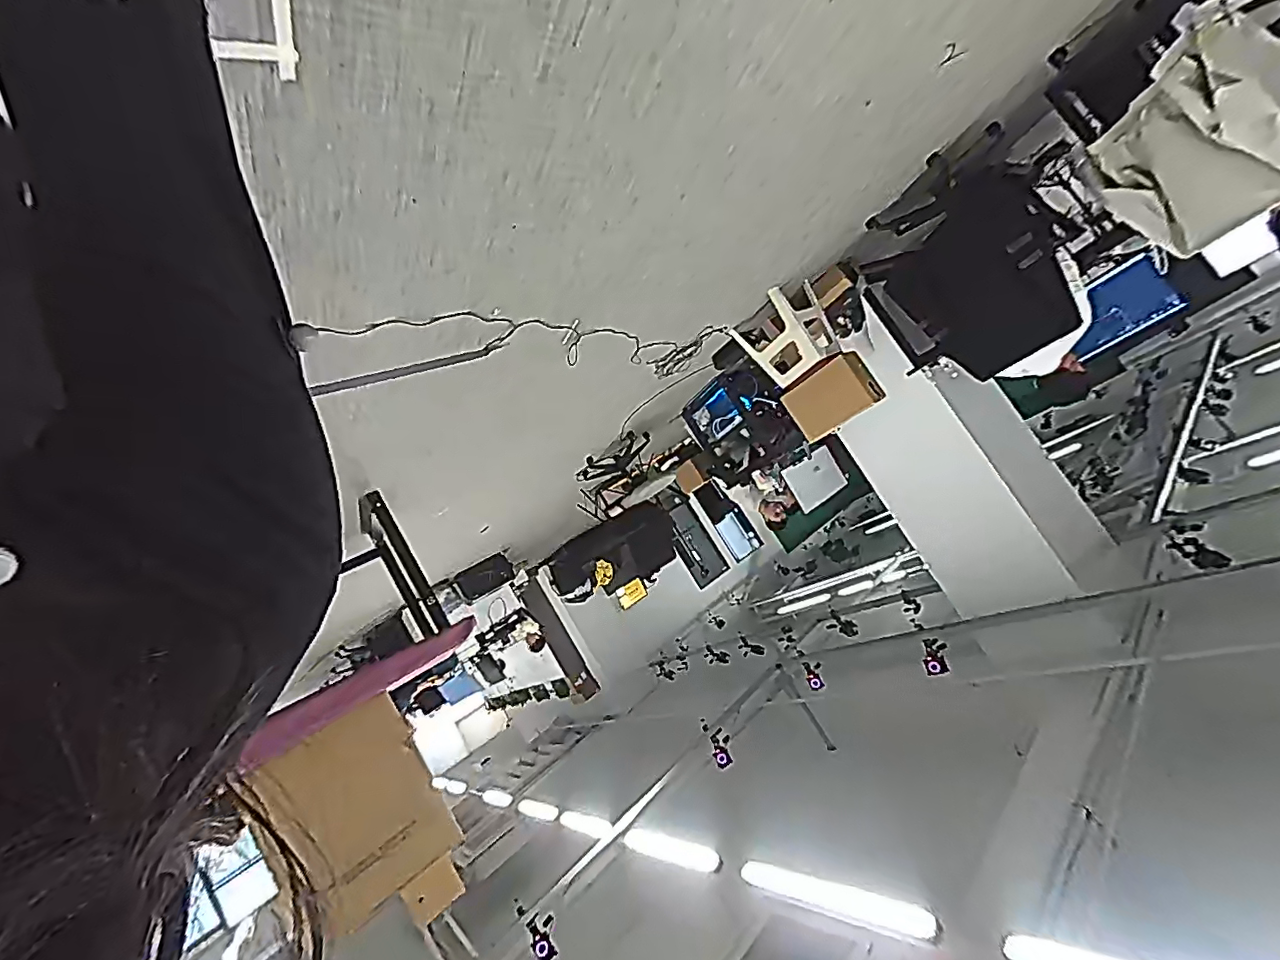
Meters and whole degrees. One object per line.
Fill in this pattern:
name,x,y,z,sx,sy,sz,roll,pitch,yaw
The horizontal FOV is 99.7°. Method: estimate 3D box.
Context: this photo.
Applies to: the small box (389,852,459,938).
small box,-0.798,1.515,1.987,0.179,0.176,0.168,-28,172,-36
